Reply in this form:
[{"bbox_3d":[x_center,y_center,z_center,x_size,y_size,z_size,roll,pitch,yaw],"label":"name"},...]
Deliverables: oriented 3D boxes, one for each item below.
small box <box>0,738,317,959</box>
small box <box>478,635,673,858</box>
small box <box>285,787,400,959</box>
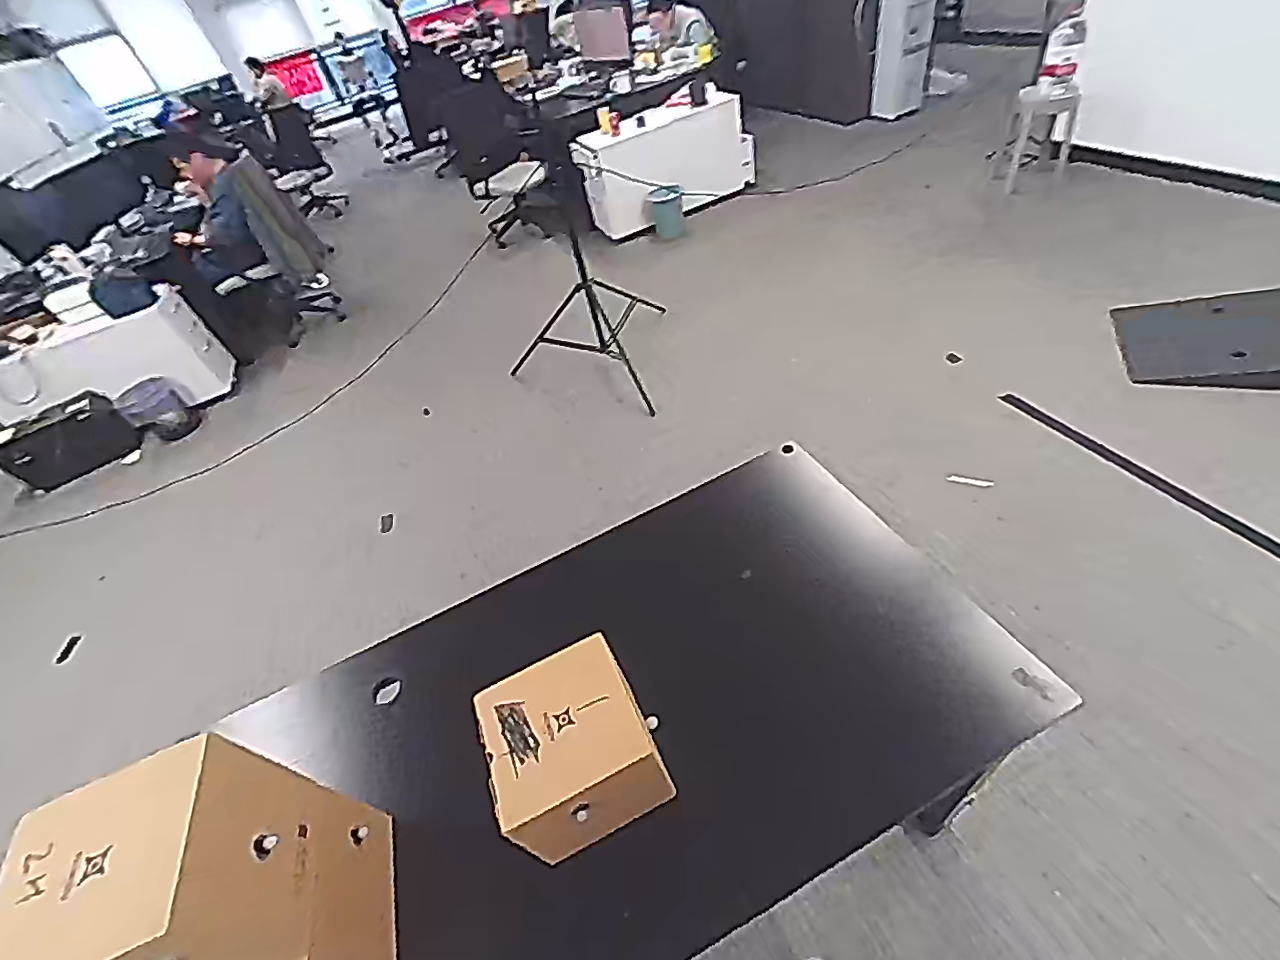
[{"bbox_3d":[-0.437,0.382,0.508,0.179,0.176,0.168,-24,45,-6],"label":"small box"},{"bbox_3d":[-0.077,0.336,0.680,0.179,0.176,0.168,-25,45,-9],"label":"small box"},{"bbox_3d":[-0.396,0.496,0.620,0.168,0.176,0.179,-24,46,-6],"label":"small box"}]
